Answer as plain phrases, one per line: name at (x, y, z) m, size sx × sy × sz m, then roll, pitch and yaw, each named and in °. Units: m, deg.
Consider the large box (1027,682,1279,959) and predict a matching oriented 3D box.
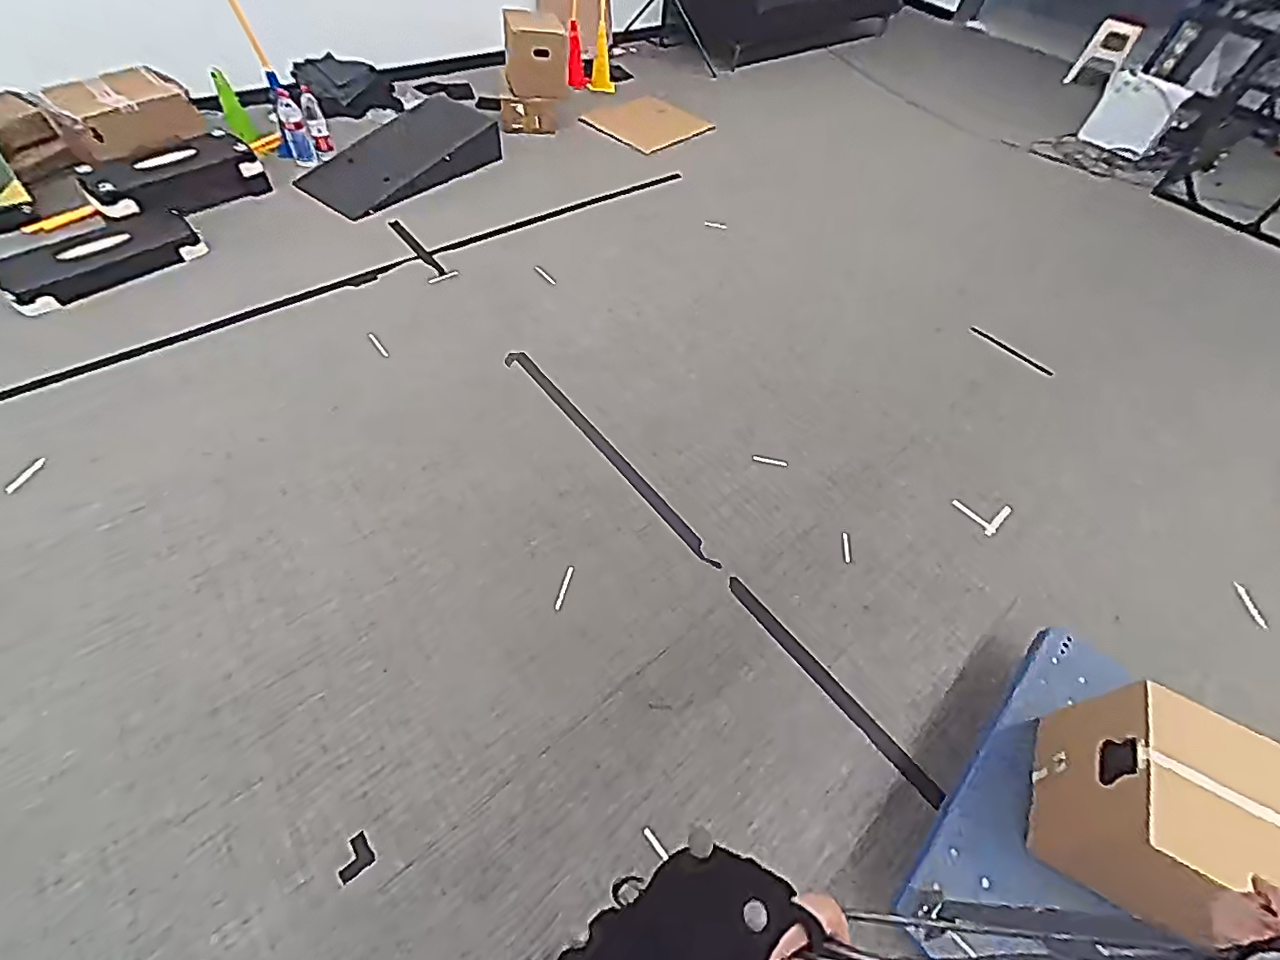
large box at (1.046, 0.661, 1.032) m, size 0.408 × 0.320 × 0.320 m, roll 28°, pitch 56°, yaw 13°
